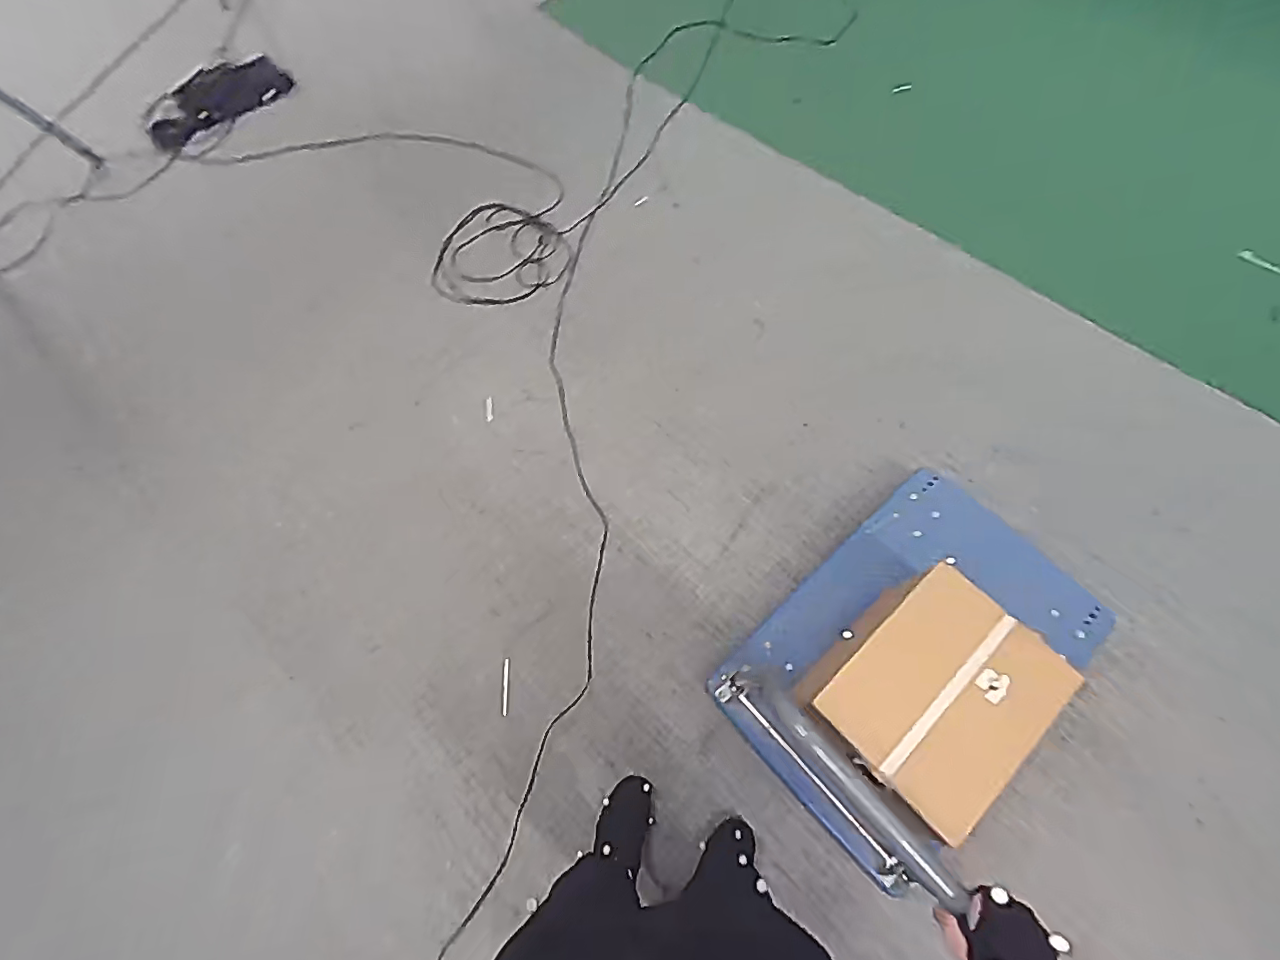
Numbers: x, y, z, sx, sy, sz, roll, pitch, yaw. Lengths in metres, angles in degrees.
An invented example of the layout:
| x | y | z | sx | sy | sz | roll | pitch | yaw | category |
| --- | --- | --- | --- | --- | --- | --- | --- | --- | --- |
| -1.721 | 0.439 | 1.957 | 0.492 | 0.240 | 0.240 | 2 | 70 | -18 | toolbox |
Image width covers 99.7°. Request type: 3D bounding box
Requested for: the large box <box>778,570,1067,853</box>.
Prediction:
| x | y | z | sx | sy | sz | roll | pitch | yaw | category |
| --- | --- | --- | --- | --- | --- | --- | --- | --- | --- |
| 0.558 | 0.469 | 1.138 | 0.408 | 0.320 | 0.320 | -40 | 71 | -16 | large box |
